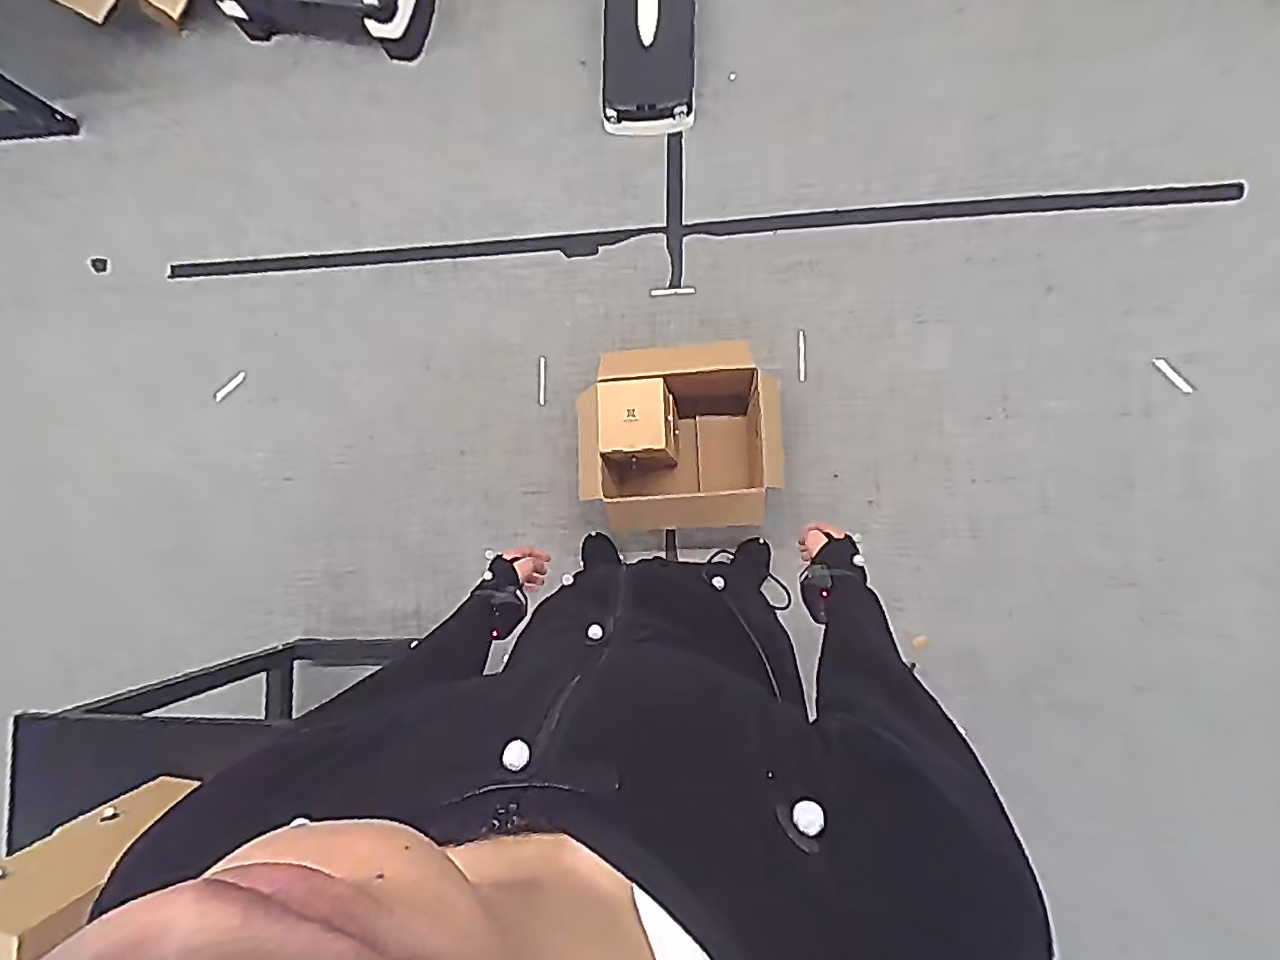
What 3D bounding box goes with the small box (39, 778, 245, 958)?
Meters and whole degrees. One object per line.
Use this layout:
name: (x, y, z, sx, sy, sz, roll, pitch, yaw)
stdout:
small box: (-0.798, 0.613, 0.881, 0.179, 0.176, 0.168, 4, 88, 7)
